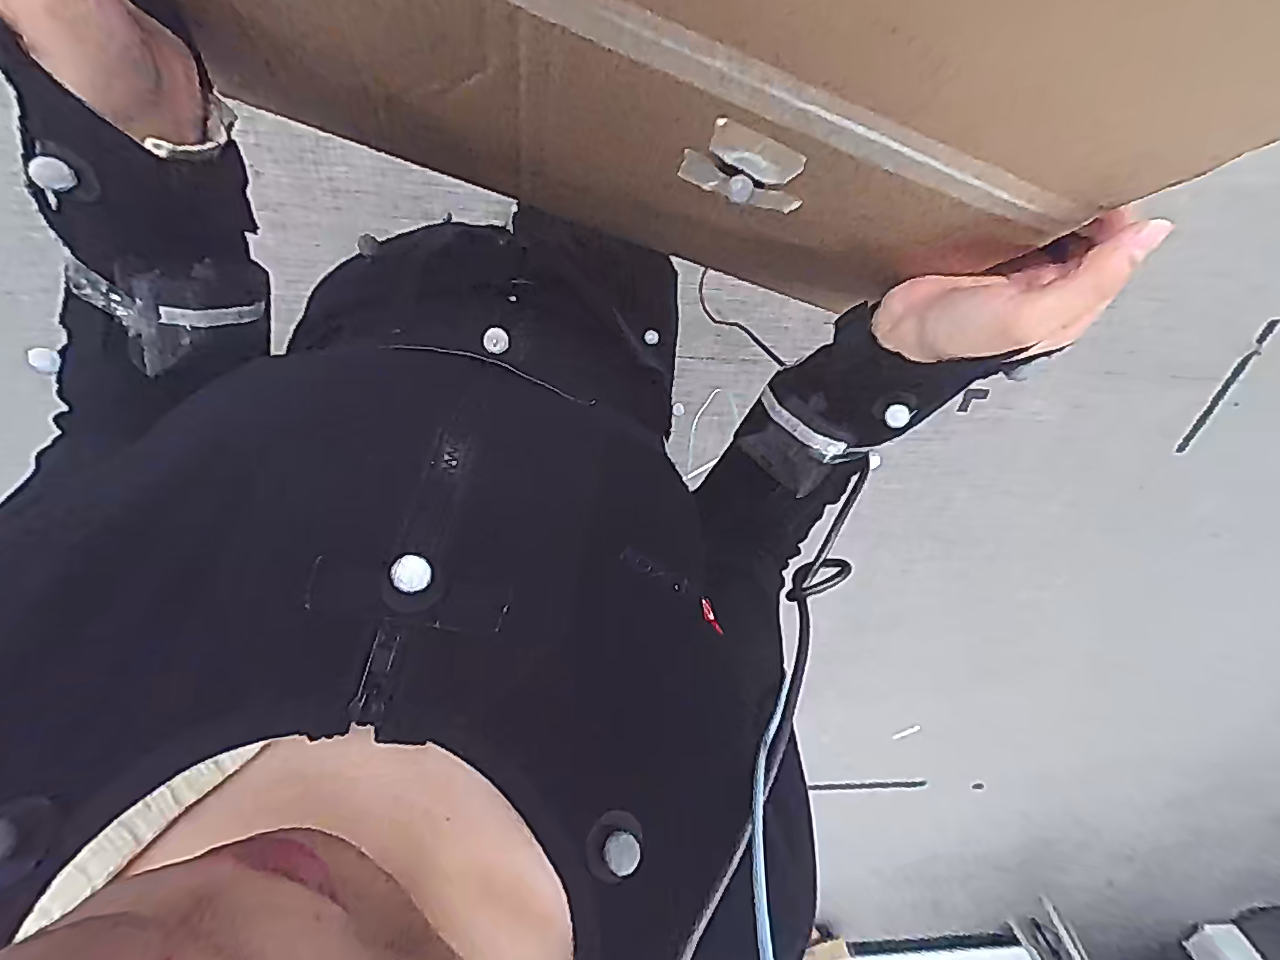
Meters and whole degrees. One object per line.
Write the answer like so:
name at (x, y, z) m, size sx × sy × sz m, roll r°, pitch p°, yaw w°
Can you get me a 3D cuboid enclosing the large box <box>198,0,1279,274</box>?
large box at (0.046, -0.320, 0.161) m, size 0.408 × 0.320 × 0.320 m, roll 14°, pitch 88°, yaw -11°
